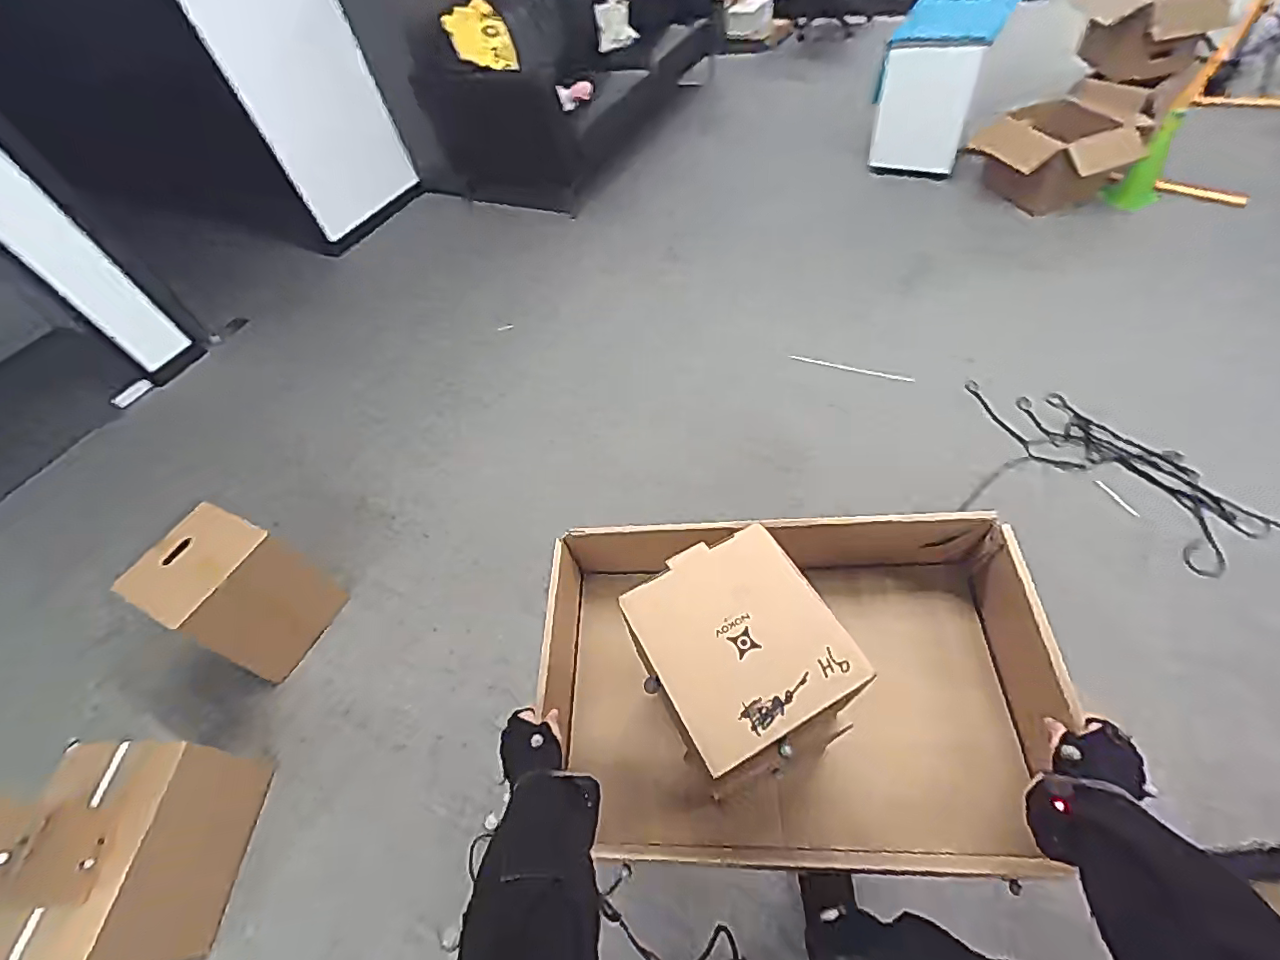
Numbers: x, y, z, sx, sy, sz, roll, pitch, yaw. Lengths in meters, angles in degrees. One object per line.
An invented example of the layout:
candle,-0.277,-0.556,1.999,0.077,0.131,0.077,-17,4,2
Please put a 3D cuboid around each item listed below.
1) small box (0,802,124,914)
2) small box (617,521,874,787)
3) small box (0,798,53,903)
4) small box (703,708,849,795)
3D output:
small box,-1.195,0.742,1.057,0.179,0.176,0.168,-8,52,4
small box,0.094,0.179,0.545,0.168,0.176,0.179,-27,58,-10
small box,-1.206,0.642,0.927,0.179,0.176,0.168,-4,53,6
small box,0.127,0.270,0.677,0.168,0.176,0.179,-22,56,-8
